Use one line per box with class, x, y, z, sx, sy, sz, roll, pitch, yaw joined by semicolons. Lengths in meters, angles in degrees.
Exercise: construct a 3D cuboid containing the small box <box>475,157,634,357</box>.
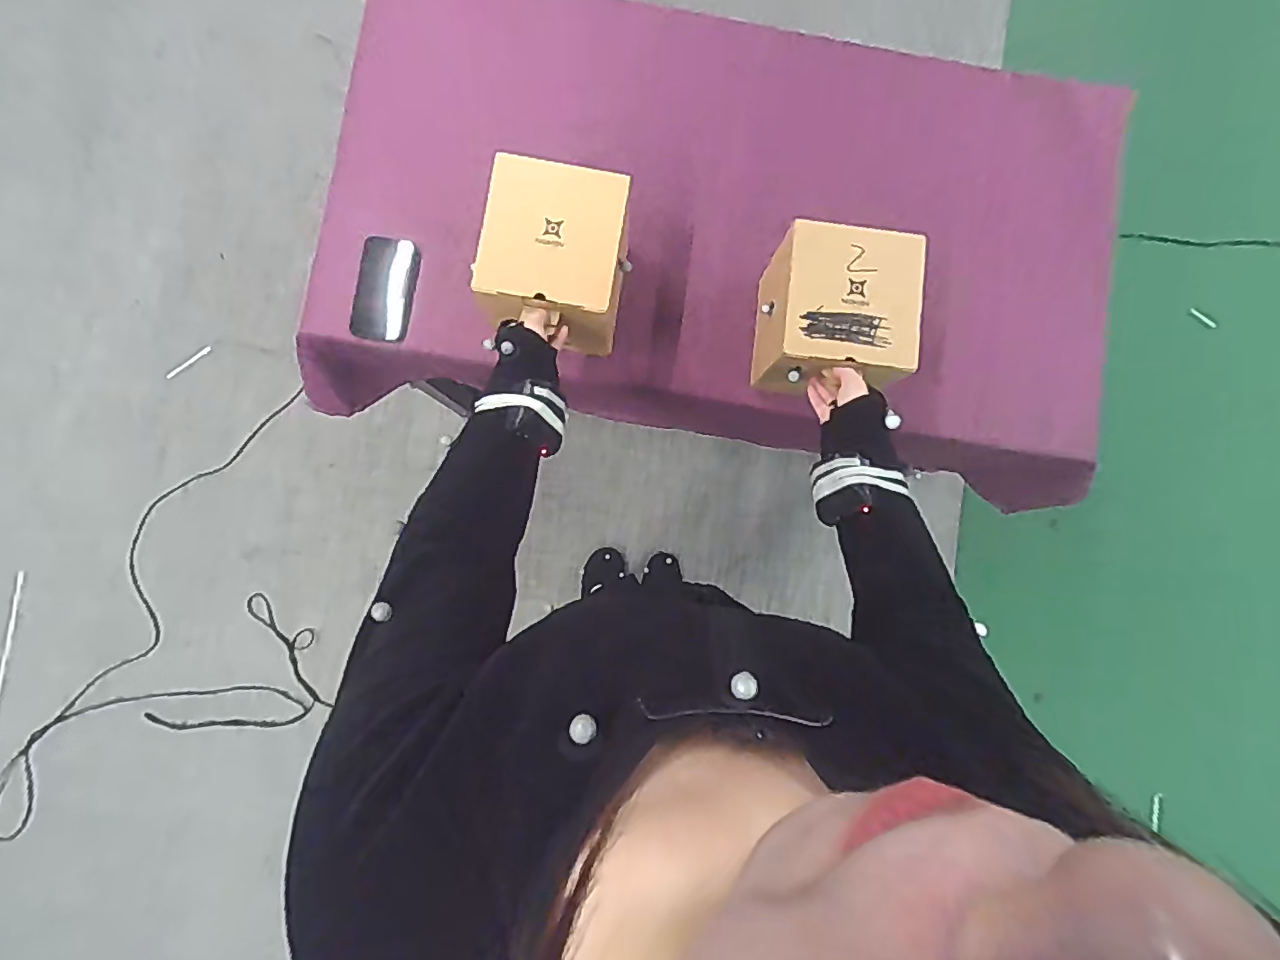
small box;-0.107;-0.285;0.726;0.168;0.176;0.179;10;86;-3
